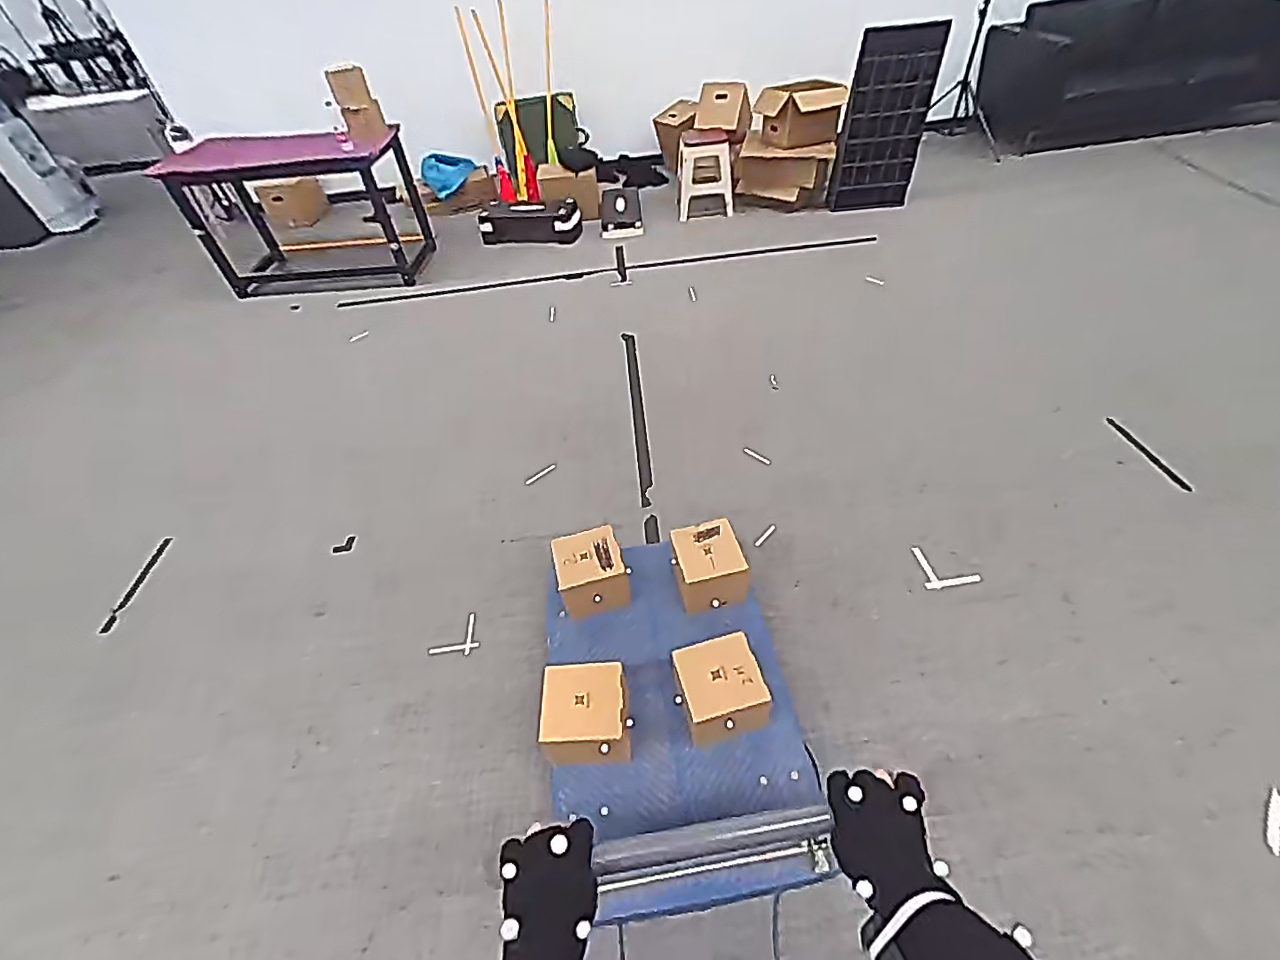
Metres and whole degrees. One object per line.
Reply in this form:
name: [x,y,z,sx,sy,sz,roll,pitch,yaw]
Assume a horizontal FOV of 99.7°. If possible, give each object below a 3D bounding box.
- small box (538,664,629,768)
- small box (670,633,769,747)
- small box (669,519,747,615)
small box: [-0.121,0.535,1.221,0.179,0.176,0.168,-4,46,1]
small box: [0.179,0.482,1.233,0.179,0.176,0.168,-14,47,-6]
small box: [0.179,0.238,1.466,0.168,0.176,0.179,-13,47,-5]
